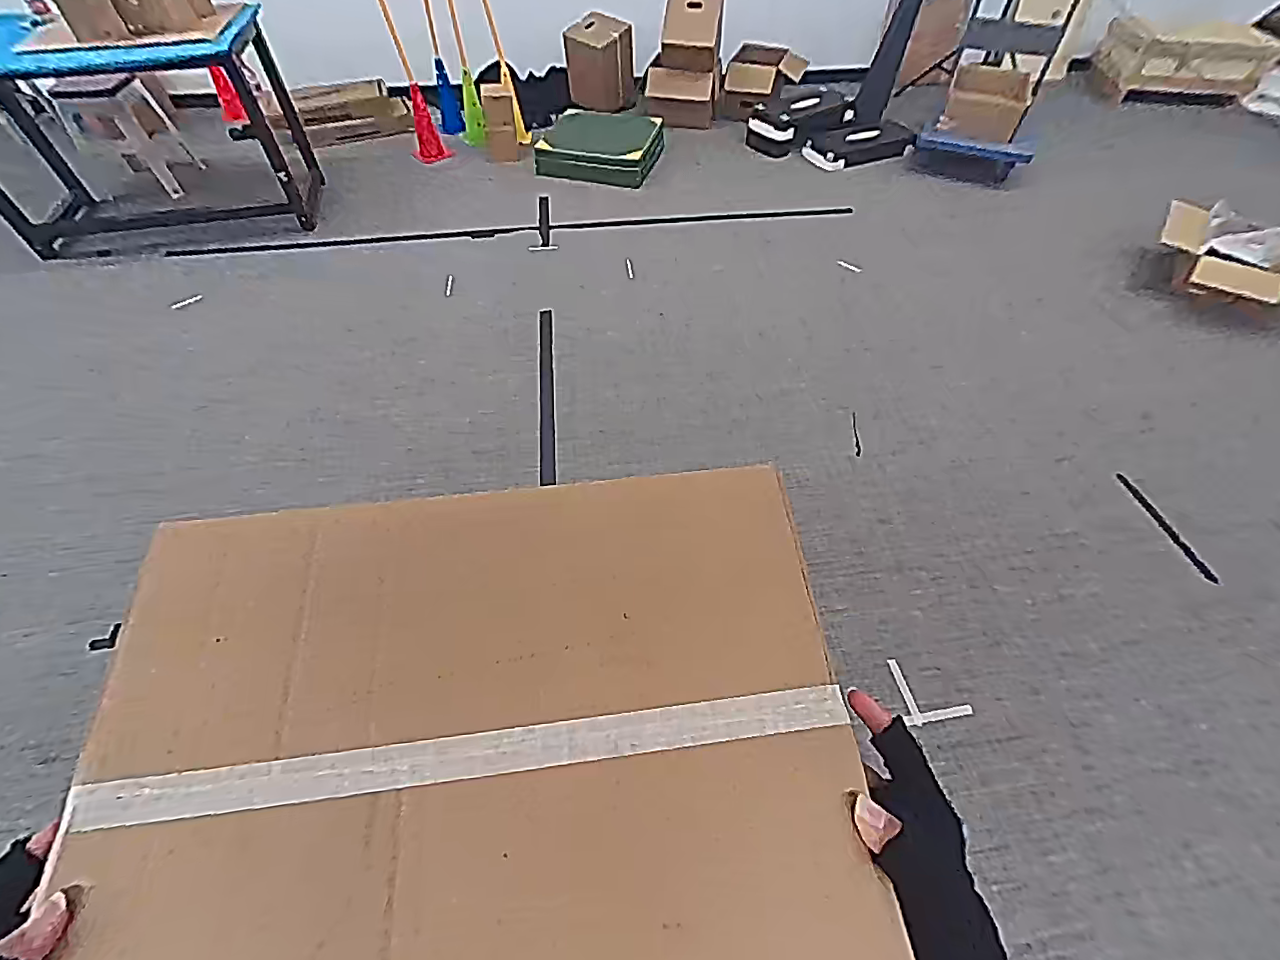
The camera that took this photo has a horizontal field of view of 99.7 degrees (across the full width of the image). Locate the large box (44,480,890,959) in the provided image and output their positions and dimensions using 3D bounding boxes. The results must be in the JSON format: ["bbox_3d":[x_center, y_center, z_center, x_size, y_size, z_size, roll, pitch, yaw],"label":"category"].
[{"bbox_3d":[-0.091,0.223,0.430,0.408,0.320,0.320,-5,62,-4],"label":"large box"}]
